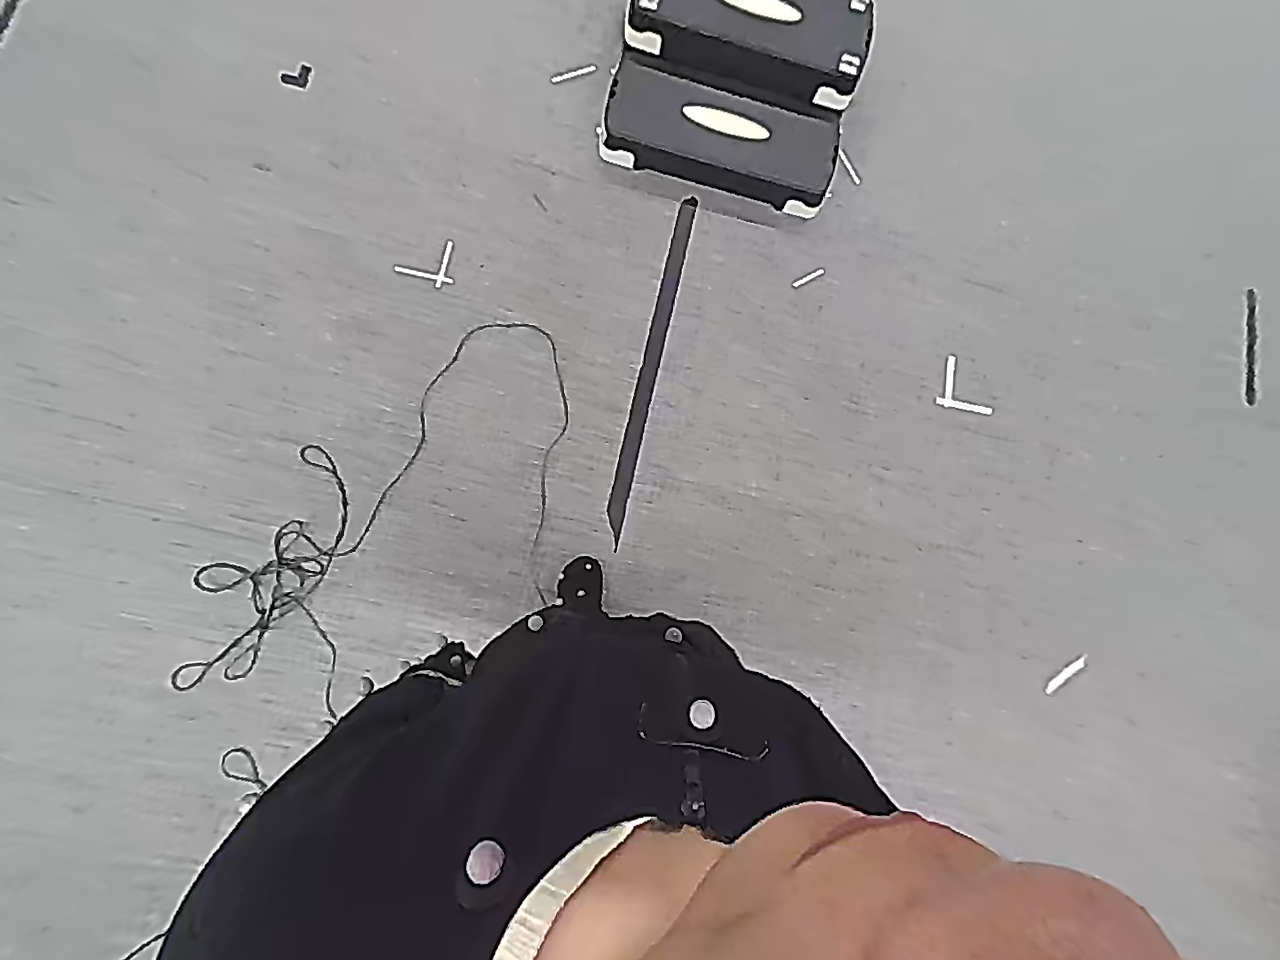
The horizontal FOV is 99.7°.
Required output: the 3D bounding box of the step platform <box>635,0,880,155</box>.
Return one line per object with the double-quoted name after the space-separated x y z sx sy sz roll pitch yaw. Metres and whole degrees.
0.337 -1.229 1.579 0.684 0.204 0.286 18 79 -4 "step platform"
